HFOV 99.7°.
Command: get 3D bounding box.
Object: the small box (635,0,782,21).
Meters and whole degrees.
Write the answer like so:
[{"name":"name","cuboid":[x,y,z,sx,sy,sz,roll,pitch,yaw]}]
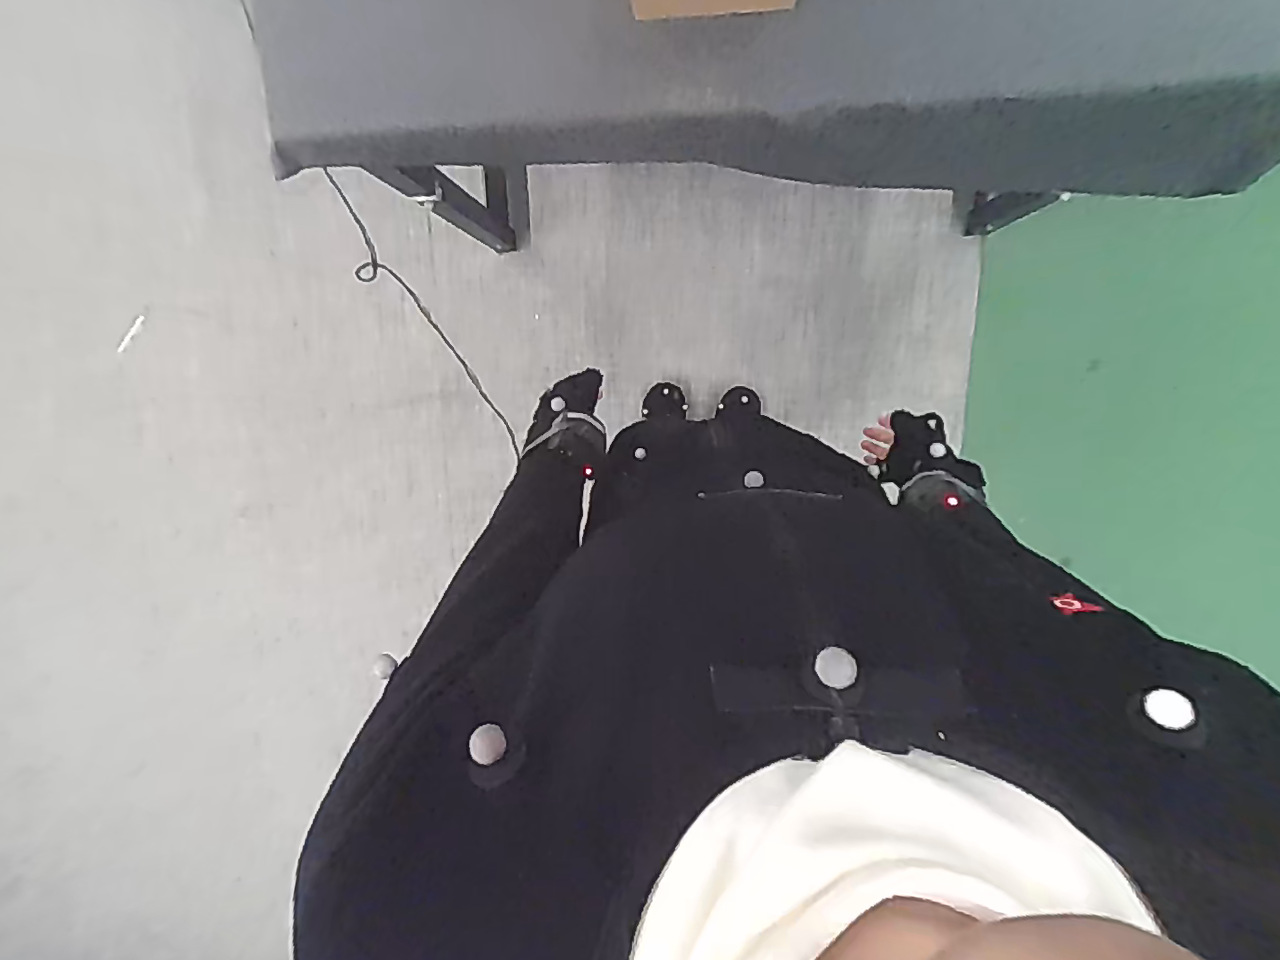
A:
[{"name":"small box","cuboid":[0.075,-0.576,0.505,0.179,0.176,0.168,1,100,6]}]
